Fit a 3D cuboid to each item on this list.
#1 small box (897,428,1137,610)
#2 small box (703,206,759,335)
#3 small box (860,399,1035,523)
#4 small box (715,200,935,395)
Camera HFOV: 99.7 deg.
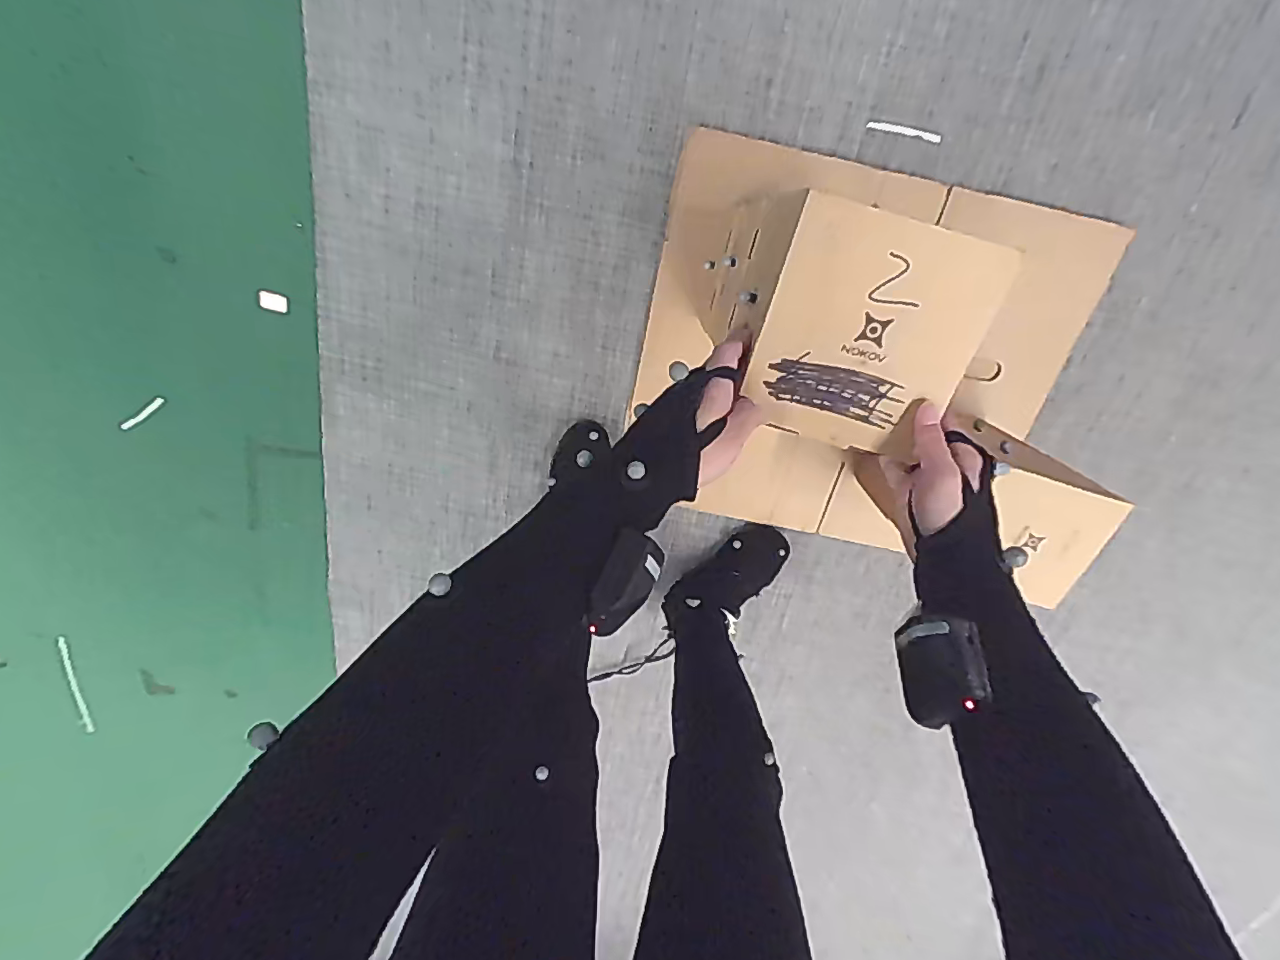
[{"bbox_3d":[0.489,0.043,0.739,0.179,0.176,0.168,17,115,-4],"label":"small box"},{"bbox_3d":[0.198,-0.286,0.782,0.179,0.176,0.168,13,114,-3],"label":"small box"},{"bbox_3d":[0.497,-0.021,0.890,0.179,0.176,0.168,14,114,-3],"label":"small box"},{"bbox_3d":[0.196,-0.218,0.636,0.179,0.176,0.168,13,115,-2],"label":"small box"}]
